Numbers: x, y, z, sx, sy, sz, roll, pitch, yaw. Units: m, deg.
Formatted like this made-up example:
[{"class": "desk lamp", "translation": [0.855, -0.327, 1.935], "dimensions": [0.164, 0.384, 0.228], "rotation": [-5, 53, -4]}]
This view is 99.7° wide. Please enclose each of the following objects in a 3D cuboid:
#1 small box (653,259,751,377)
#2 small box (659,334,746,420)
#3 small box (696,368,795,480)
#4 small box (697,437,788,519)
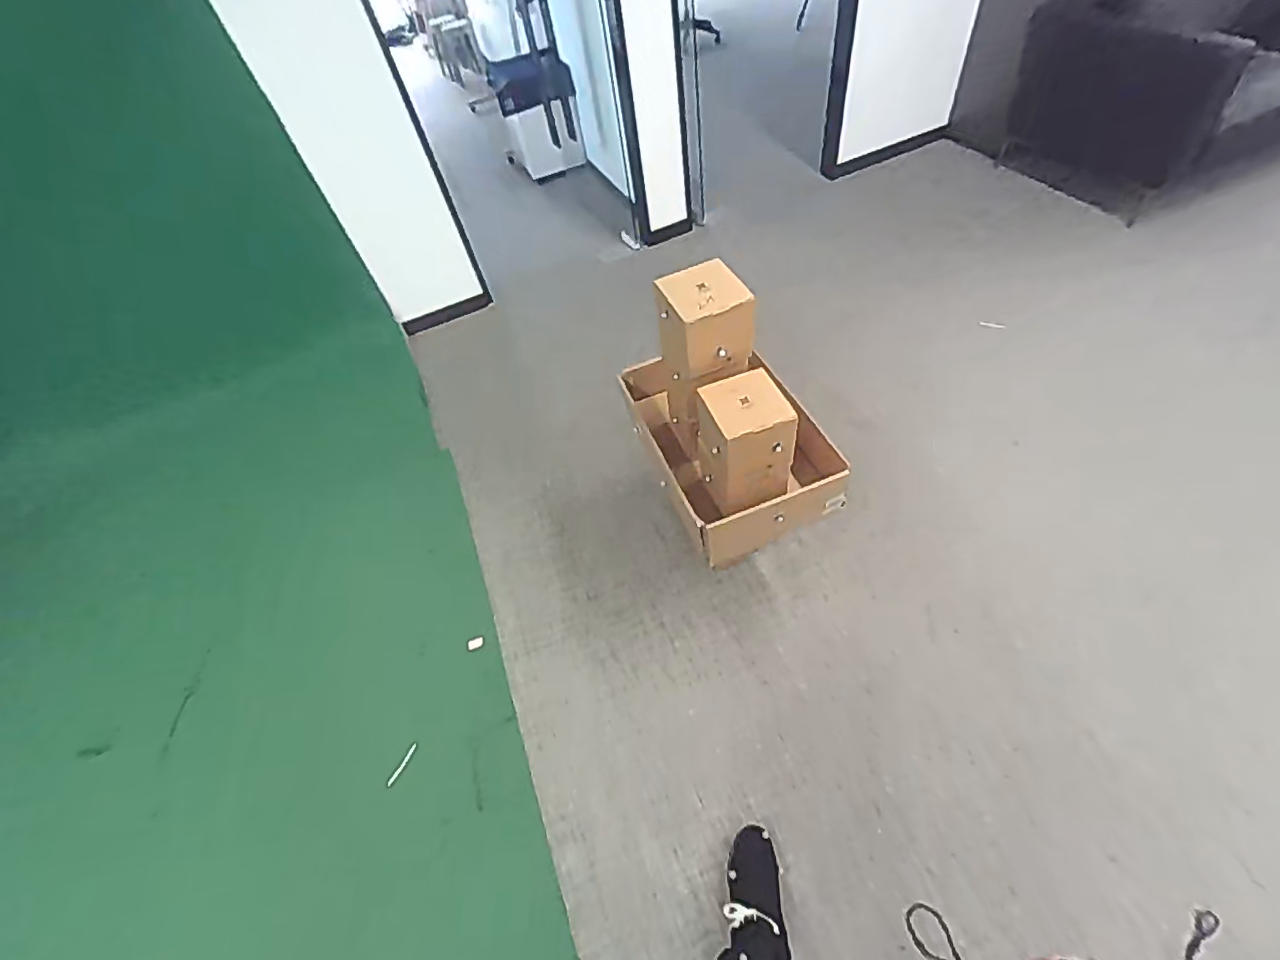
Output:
[{"class": "small box", "translation": [0.142, -0.370, 1.249], "dimensions": [0.168, 0.176, 0.179], "rotation": [-23, 55, -7]}, {"class": "small box", "translation": [0.159, -0.285, 1.390], "dimensions": [0.168, 0.176, 0.179], "rotation": [-21, 55, -6]}, {"class": "small box", "translation": [0.239, -0.120, 1.242], "dimensions": [0.168, 0.176, 0.179], "rotation": [-19, 51, -5]}, {"class": "small box", "translation": [0.258, -0.022, 1.370], "dimensions": [0.168, 0.176, 0.179], "rotation": [-20, 50, -5]}]
